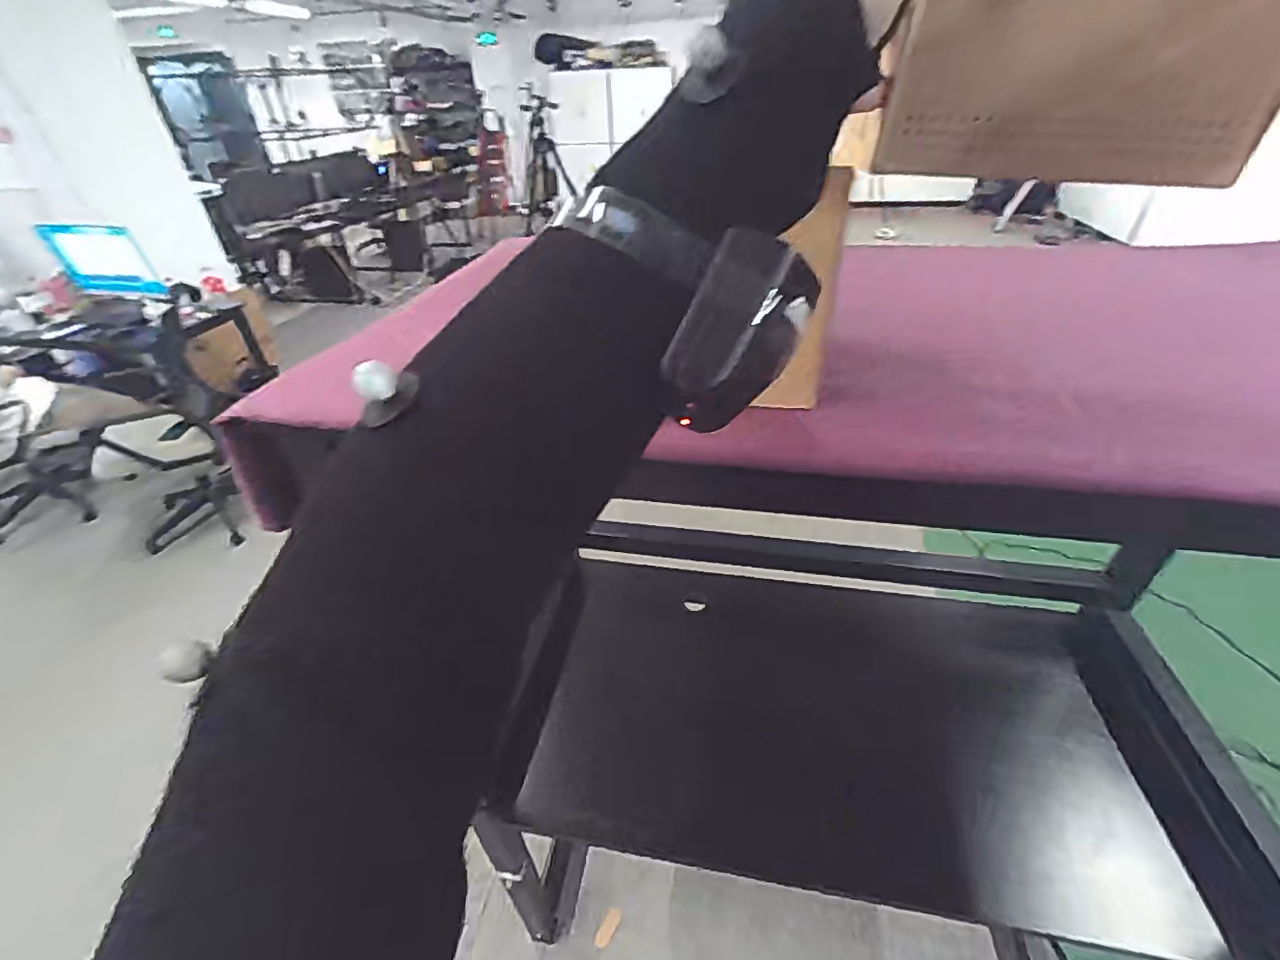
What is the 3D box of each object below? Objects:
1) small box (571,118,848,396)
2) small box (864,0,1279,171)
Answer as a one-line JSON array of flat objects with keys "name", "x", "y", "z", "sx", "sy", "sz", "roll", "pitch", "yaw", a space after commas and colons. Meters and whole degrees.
[{"name": "small box", "x": 0.055, "y": -0.178, "z": 0.426, "sx": 0.168, "sy": 0.176, "sz": 0.179, "roll": 6, "pitch": 36, "yaw": 9}, {"name": "small box", "x": 0.224, "y": -0.262, "z": 0.274, "sx": 0.179, "sy": 0.176, "sz": 0.168, "roll": 9, "pitch": 38, "yaw": 9}]
